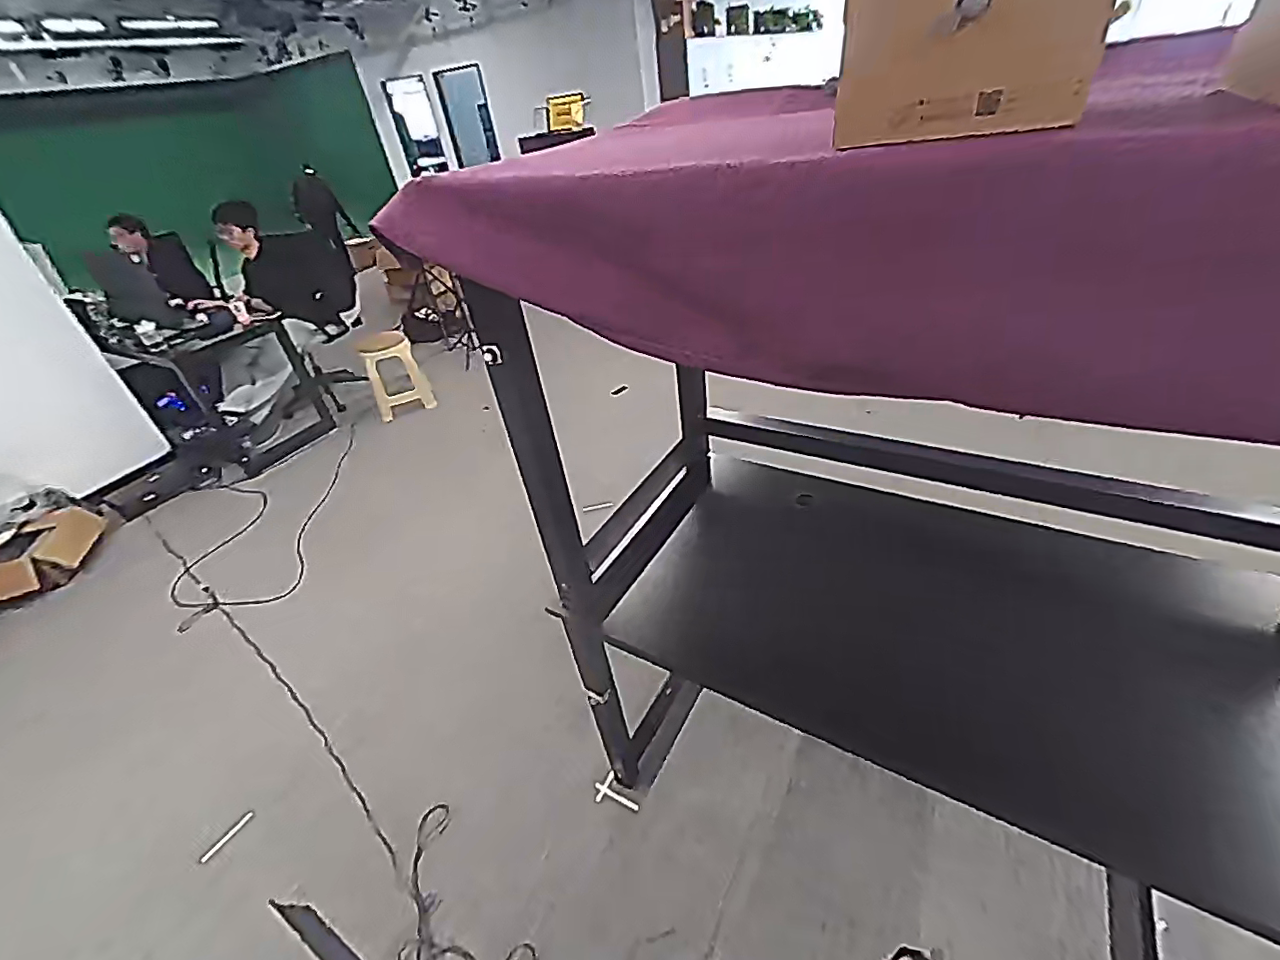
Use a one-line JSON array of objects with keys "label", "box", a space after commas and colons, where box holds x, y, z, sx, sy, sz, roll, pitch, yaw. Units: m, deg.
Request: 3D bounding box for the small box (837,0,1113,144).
[{"label": "small box", "box": [0.247, -0.368, 0.413, 0.168, 0.176, 0.179, 6, 38, 21]}]

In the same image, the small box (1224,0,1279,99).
[{"label": "small box", "box": [0.483, -0.316, 0.291, 0.168, 0.176, 0.179, 11, 40, 25]}]
